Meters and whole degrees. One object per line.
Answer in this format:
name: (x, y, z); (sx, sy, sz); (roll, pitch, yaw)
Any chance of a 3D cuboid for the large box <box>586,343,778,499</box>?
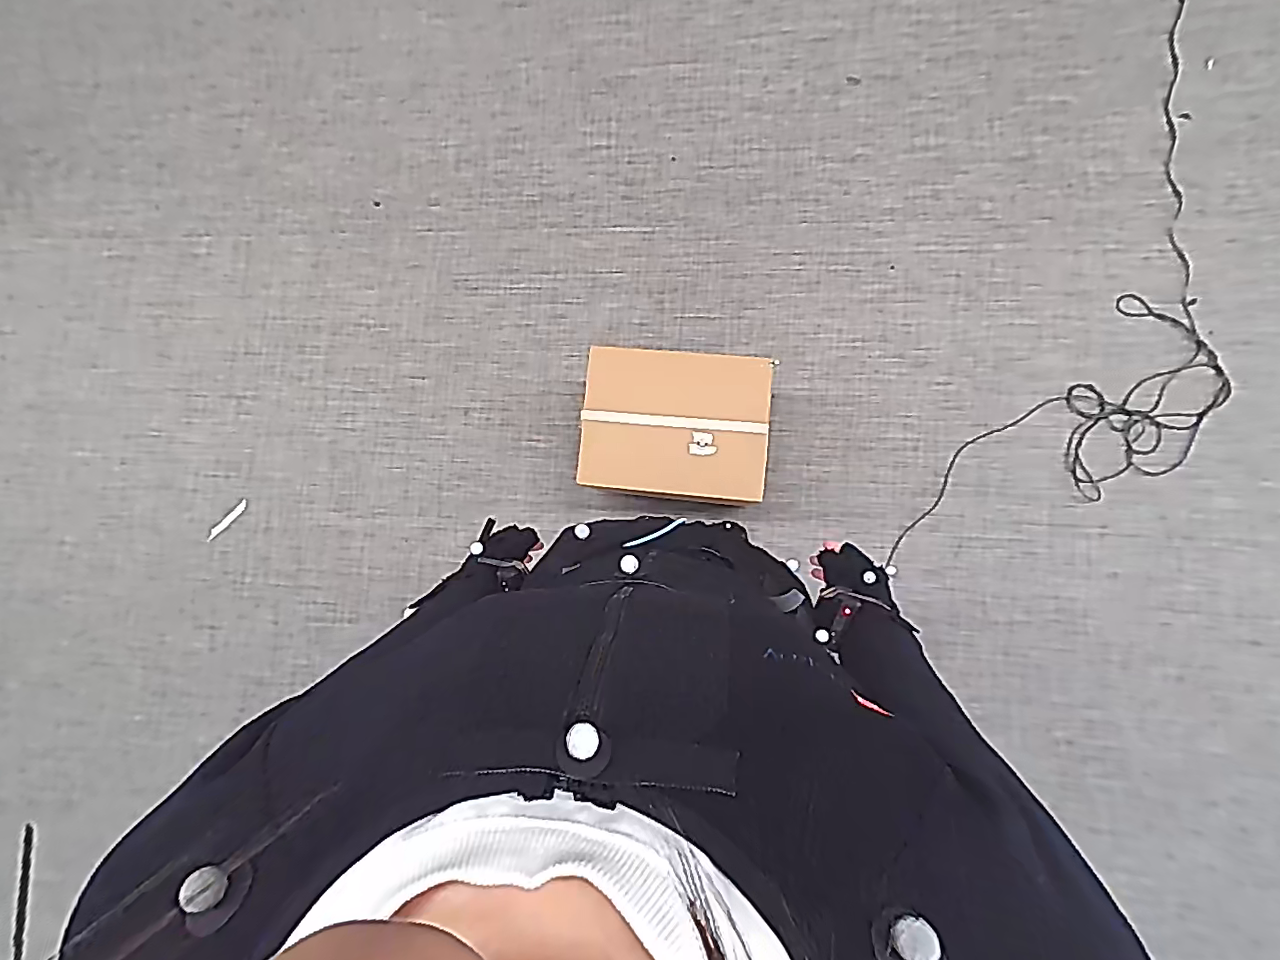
large box: (0.102, -0.126, 1.322); (0.408, 0.320, 0.320); (5, 87, 6)
